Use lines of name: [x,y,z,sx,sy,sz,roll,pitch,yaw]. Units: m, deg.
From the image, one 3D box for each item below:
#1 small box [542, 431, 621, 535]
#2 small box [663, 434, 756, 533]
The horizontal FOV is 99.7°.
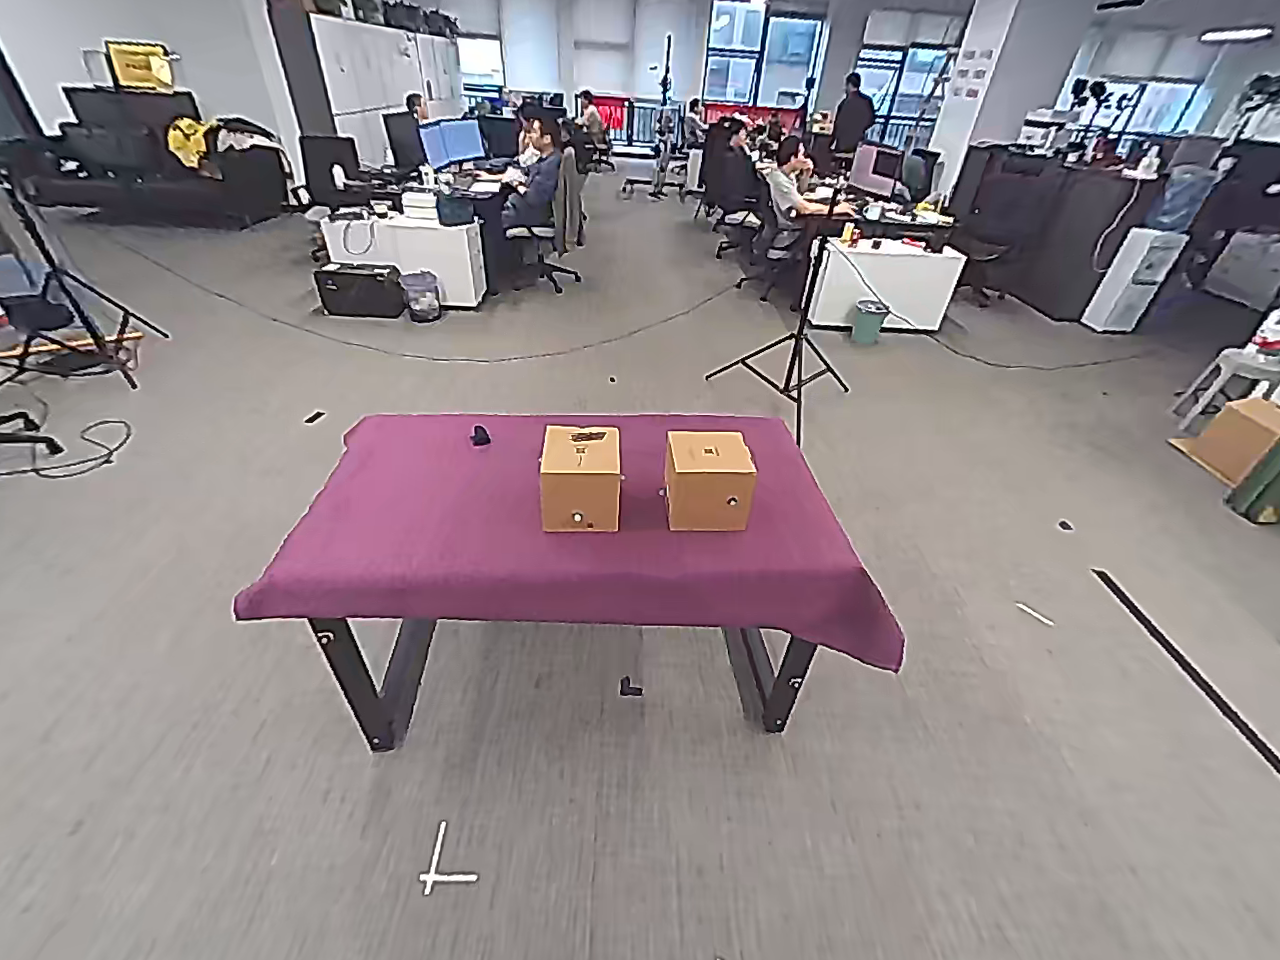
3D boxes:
small box: [-0.130,0.006,1.226,0.168,0.176,0.179,0,37,-4]
small box: [0.153,0.009,1.249,0.179,0.176,0.168,-2,35,-5]
